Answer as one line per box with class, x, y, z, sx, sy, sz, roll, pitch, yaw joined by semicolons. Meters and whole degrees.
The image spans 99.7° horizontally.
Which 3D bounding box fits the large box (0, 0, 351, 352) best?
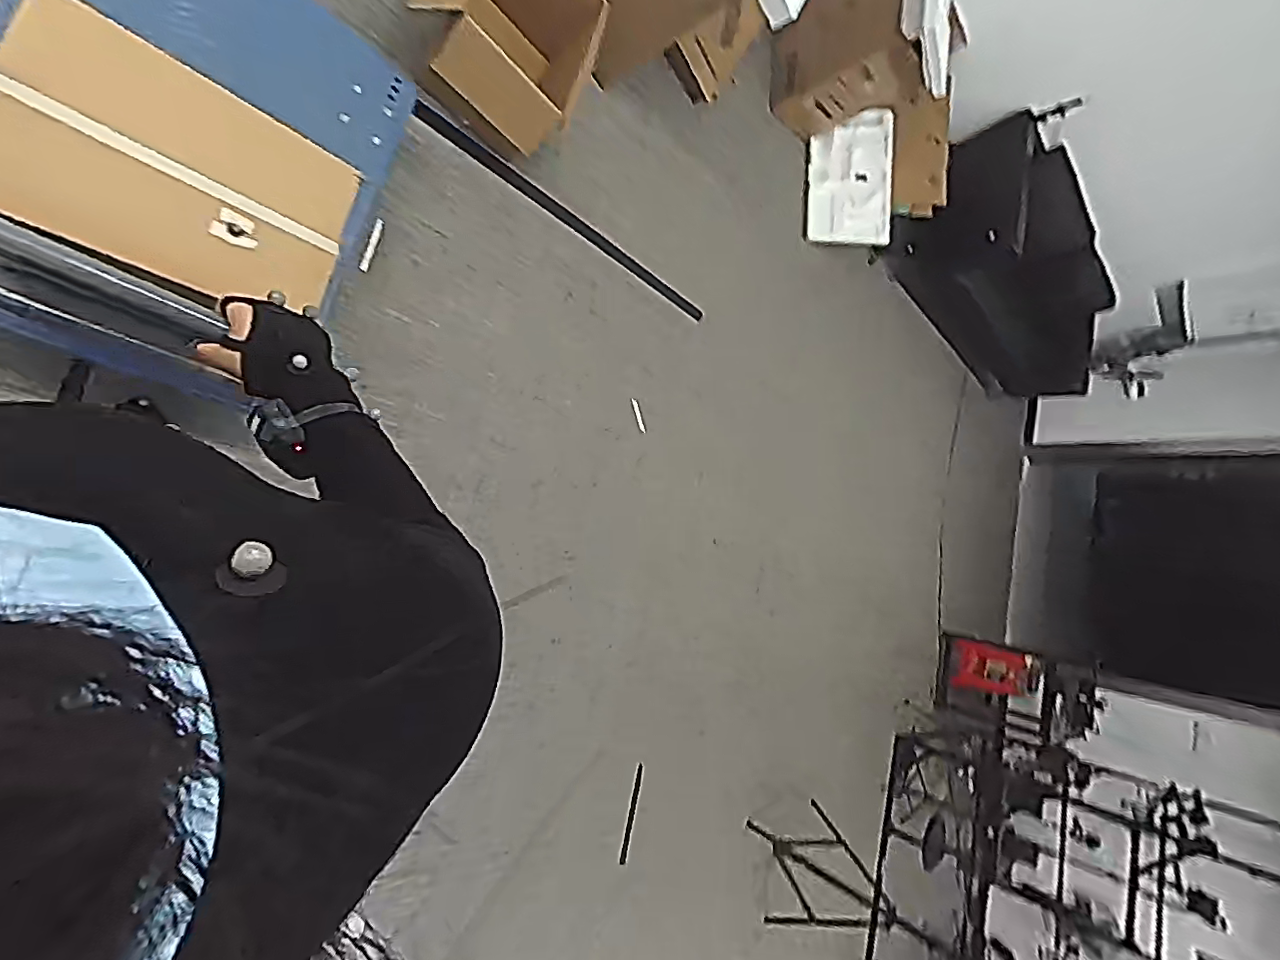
large box;-0.783;-0.453;0.907;0.408;0.320;0.320;20;78;-43
